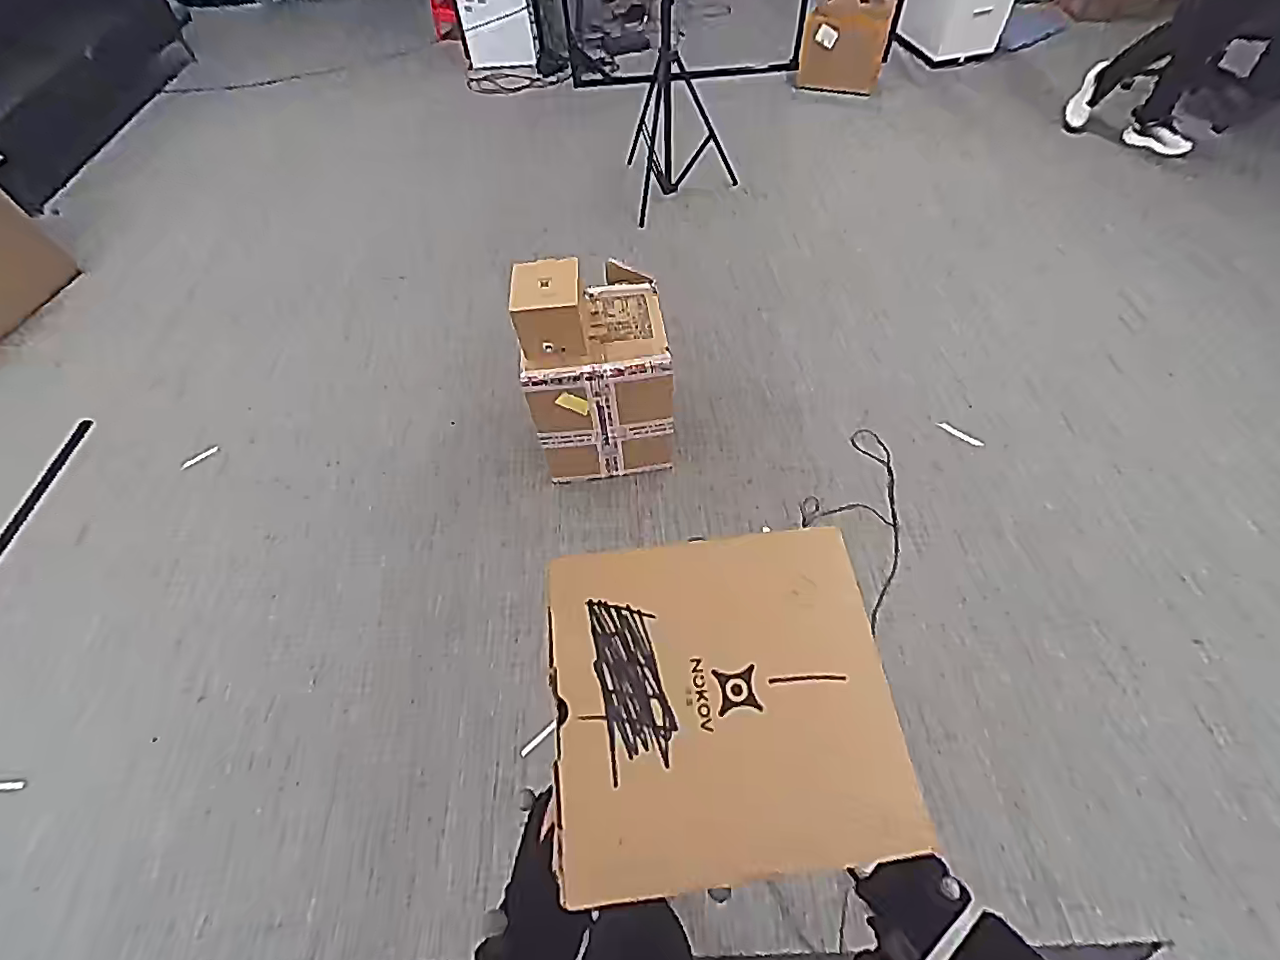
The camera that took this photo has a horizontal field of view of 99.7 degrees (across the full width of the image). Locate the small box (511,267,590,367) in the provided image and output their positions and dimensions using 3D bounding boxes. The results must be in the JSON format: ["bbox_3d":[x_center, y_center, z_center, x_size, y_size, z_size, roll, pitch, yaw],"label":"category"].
[{"bbox_3d":[-0.222,-0.413,1.380,0.168,0.176,0.179,-6,60,2],"label":"small box"}]

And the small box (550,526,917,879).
[{"bbox_3d":[0.043,0.146,0.366,0.179,0.176,0.168,-7,64,-3],"label":"small box"}]
